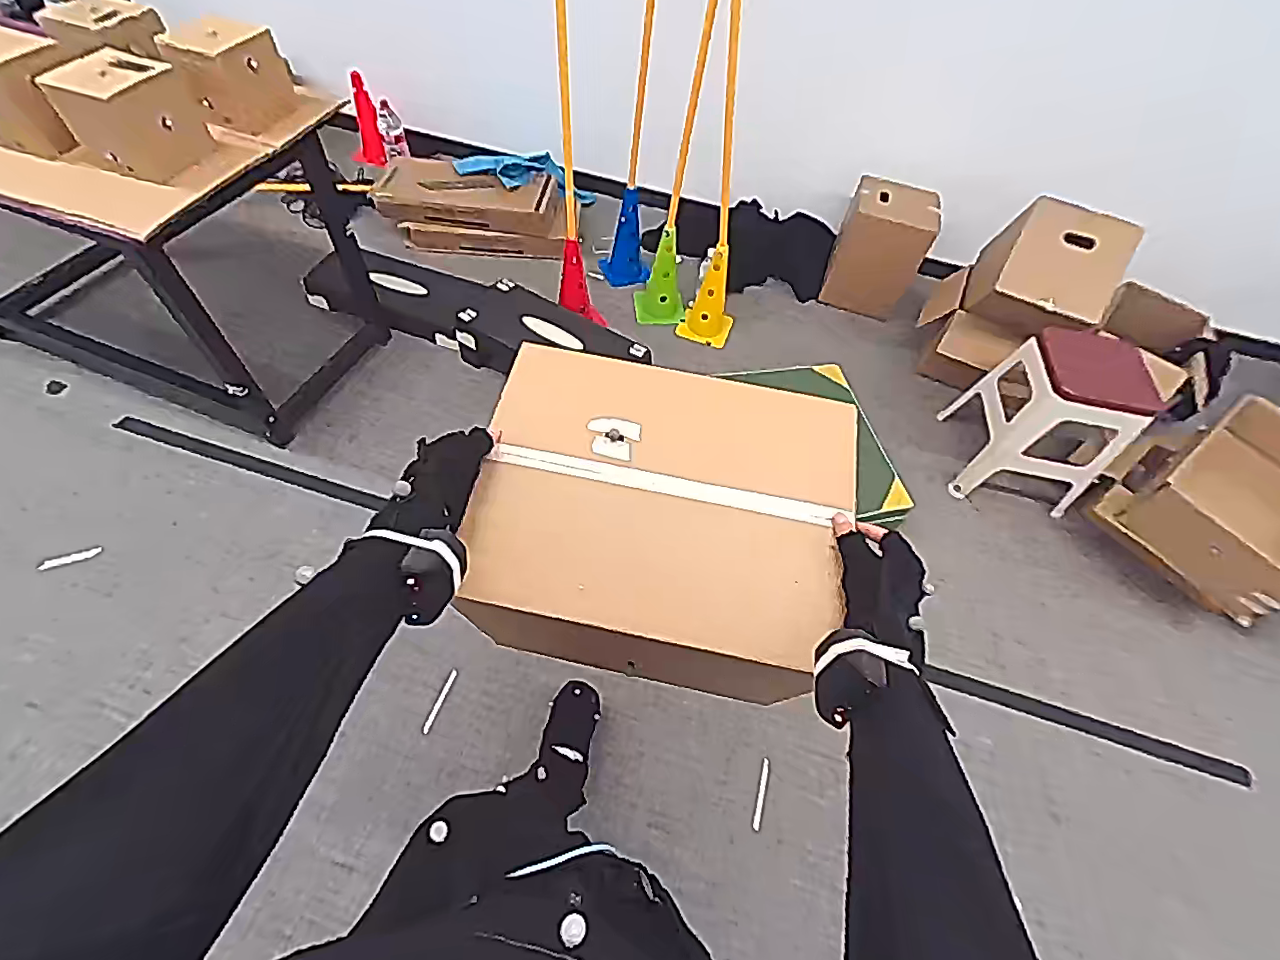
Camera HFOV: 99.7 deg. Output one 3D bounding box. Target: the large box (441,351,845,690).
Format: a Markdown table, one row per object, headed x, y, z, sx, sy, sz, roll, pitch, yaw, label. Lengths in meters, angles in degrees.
| x | y | z | sx | sy | sz | roll | pitch | yaw | label |
| --- | --- | --- | --- | --- | --- | --- | --- | --- | --- |
| 0.021 | 0.074 | 0.725 | 0.408 | 0.320 | 0.320 | 11 | 63 | 4 | large box |
